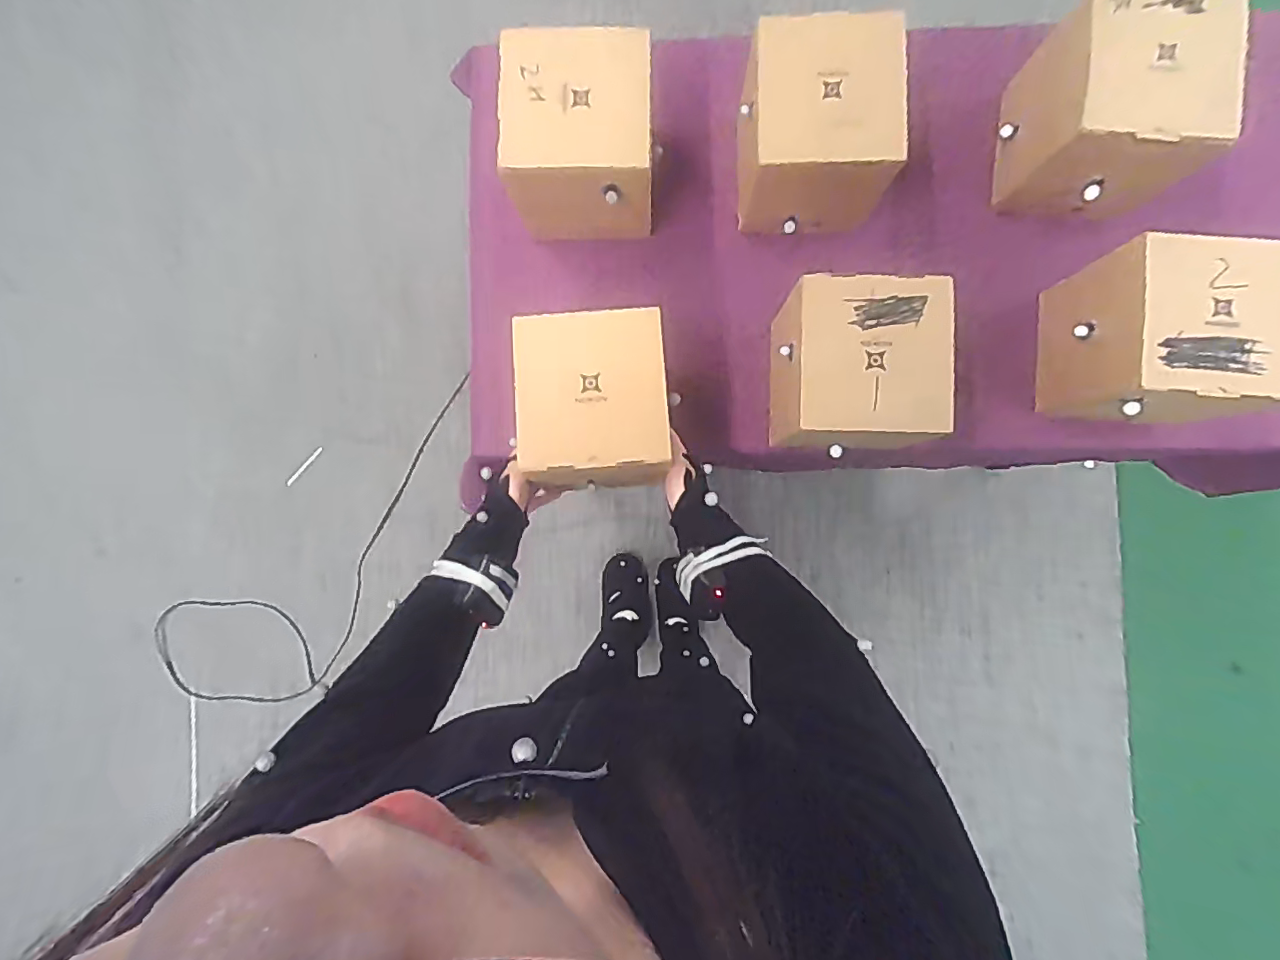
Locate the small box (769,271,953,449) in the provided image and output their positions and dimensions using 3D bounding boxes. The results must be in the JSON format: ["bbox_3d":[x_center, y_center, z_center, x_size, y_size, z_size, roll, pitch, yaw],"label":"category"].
[{"bbox_3d":[0.258,-0.137,0.667,0.168,0.176,0.179,2,88,3],"label":"small box"}]

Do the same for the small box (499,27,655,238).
[{"bbox_3d":[-0.070,-0.431,0.696,0.179,0.176,0.168,1,87,2],"label":"small box"}]

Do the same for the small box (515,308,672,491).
[{"bbox_3d":[-0.053,-0.088,0.663,0.168,0.176,0.179,-5,82,0],"label":"small box"}]

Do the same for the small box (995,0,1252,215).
[{"bbox_3d":[0.573,-0.455,0.666,0.168,0.176,0.179,7,89,2],"label":"small box"}]
